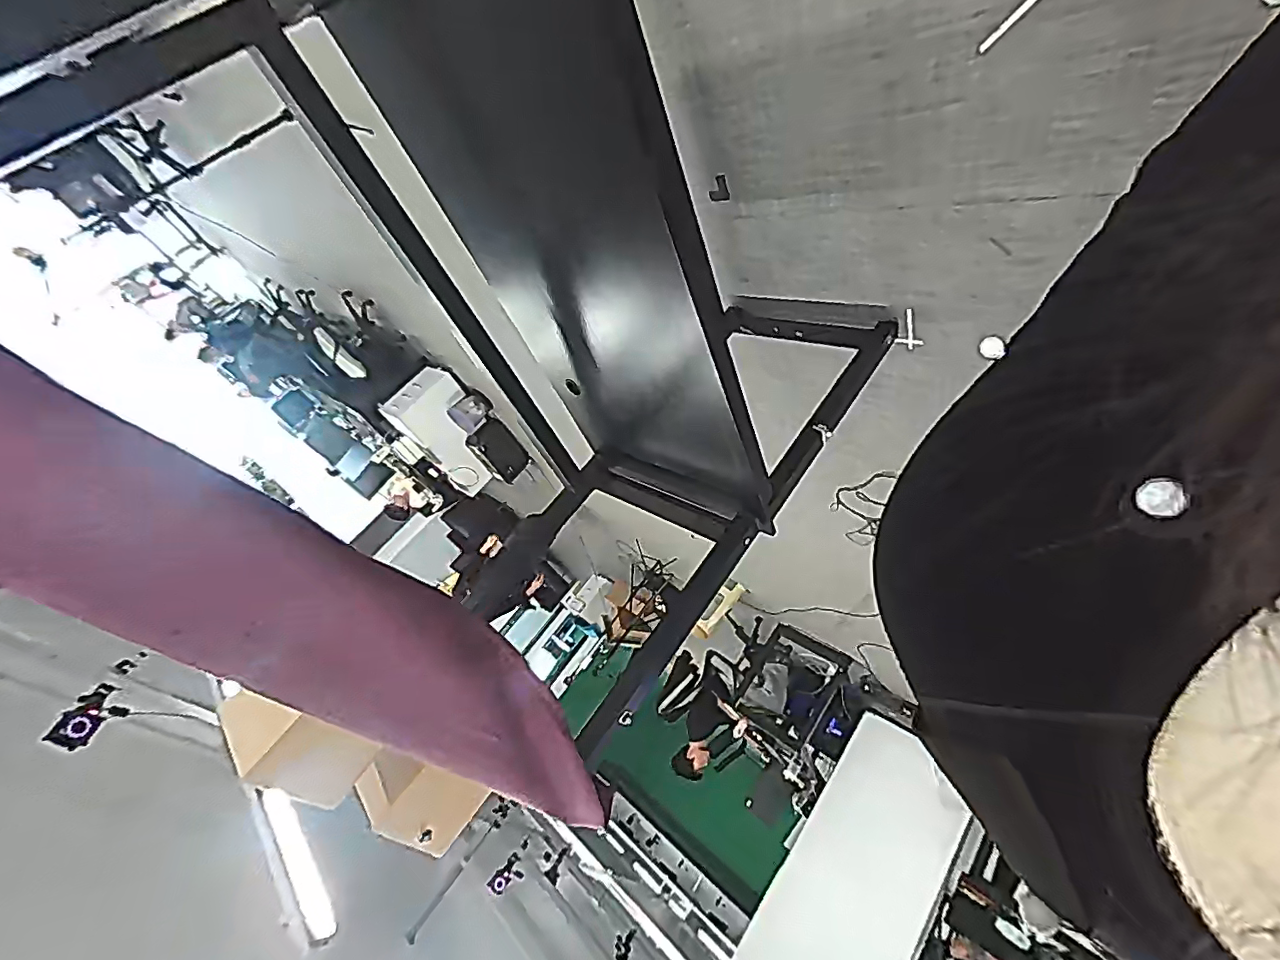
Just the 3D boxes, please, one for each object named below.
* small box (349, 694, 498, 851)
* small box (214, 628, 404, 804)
[{"bbox_3d":[-0.393,0.522,0.989,0.179,0.176,0.168,17,151,48],"label":"small box"},{"bbox_3d":[-0.509,0.357,0.847,0.179,0.176,0.168,21,154,41],"label":"small box"}]
